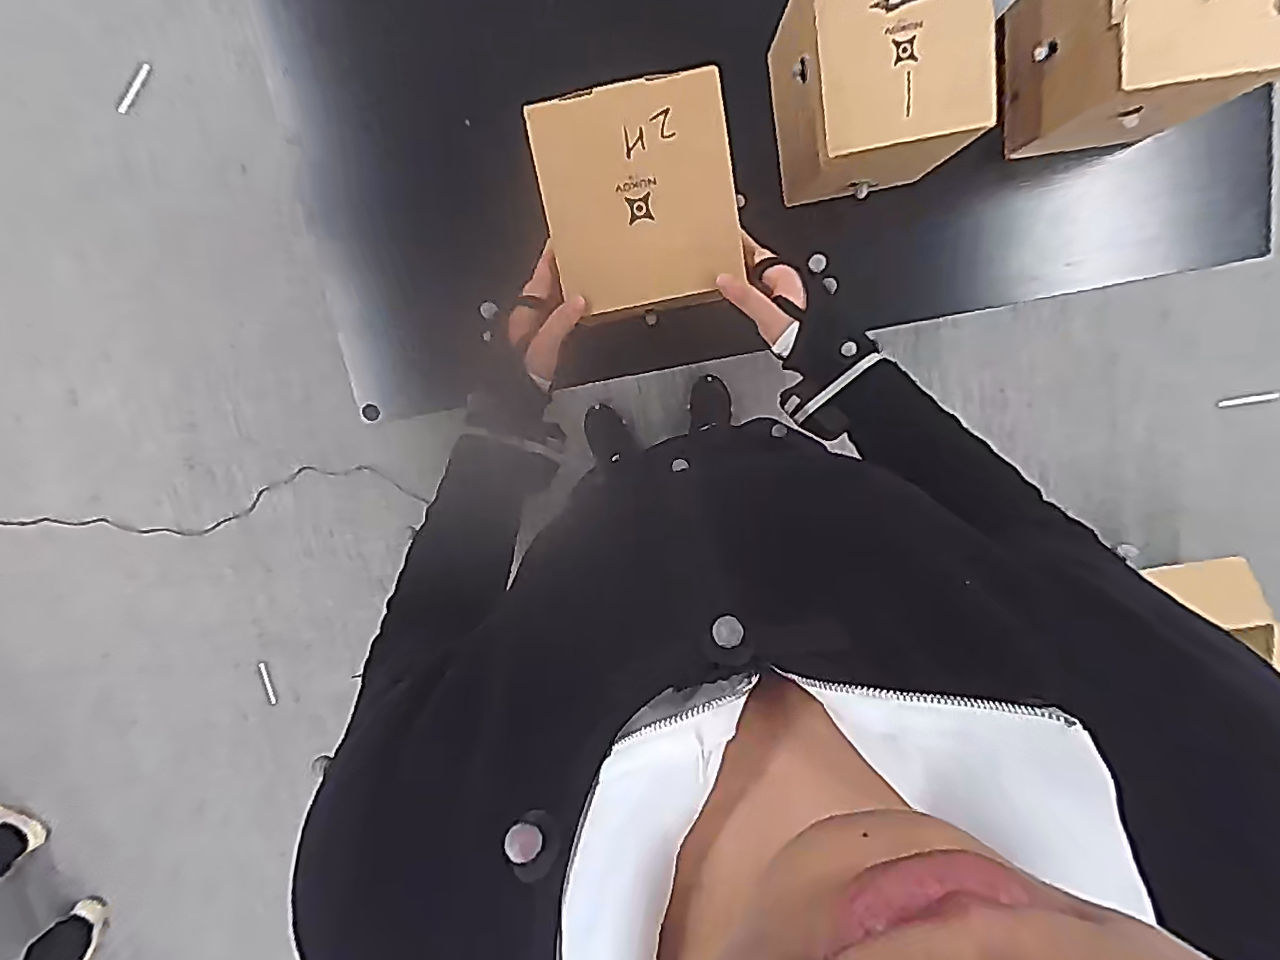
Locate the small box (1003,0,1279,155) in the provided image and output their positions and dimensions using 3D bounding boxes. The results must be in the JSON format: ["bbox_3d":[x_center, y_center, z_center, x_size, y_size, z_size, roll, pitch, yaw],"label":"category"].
[{"bbox_3d":[0.522,-0.474,0.577,0.179,0.176,0.168,-7,101,3],"label":"small box"}]

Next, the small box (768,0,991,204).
[{"bbox_3d":[0.245,-0.429,0.588,0.168,0.176,0.179,-10,102,3],"label":"small box"}]

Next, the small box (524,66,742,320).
[{"bbox_3d":[-0.002,-0.261,0.541,0.168,0.176,0.179,-10,104,2],"label":"small box"}]
